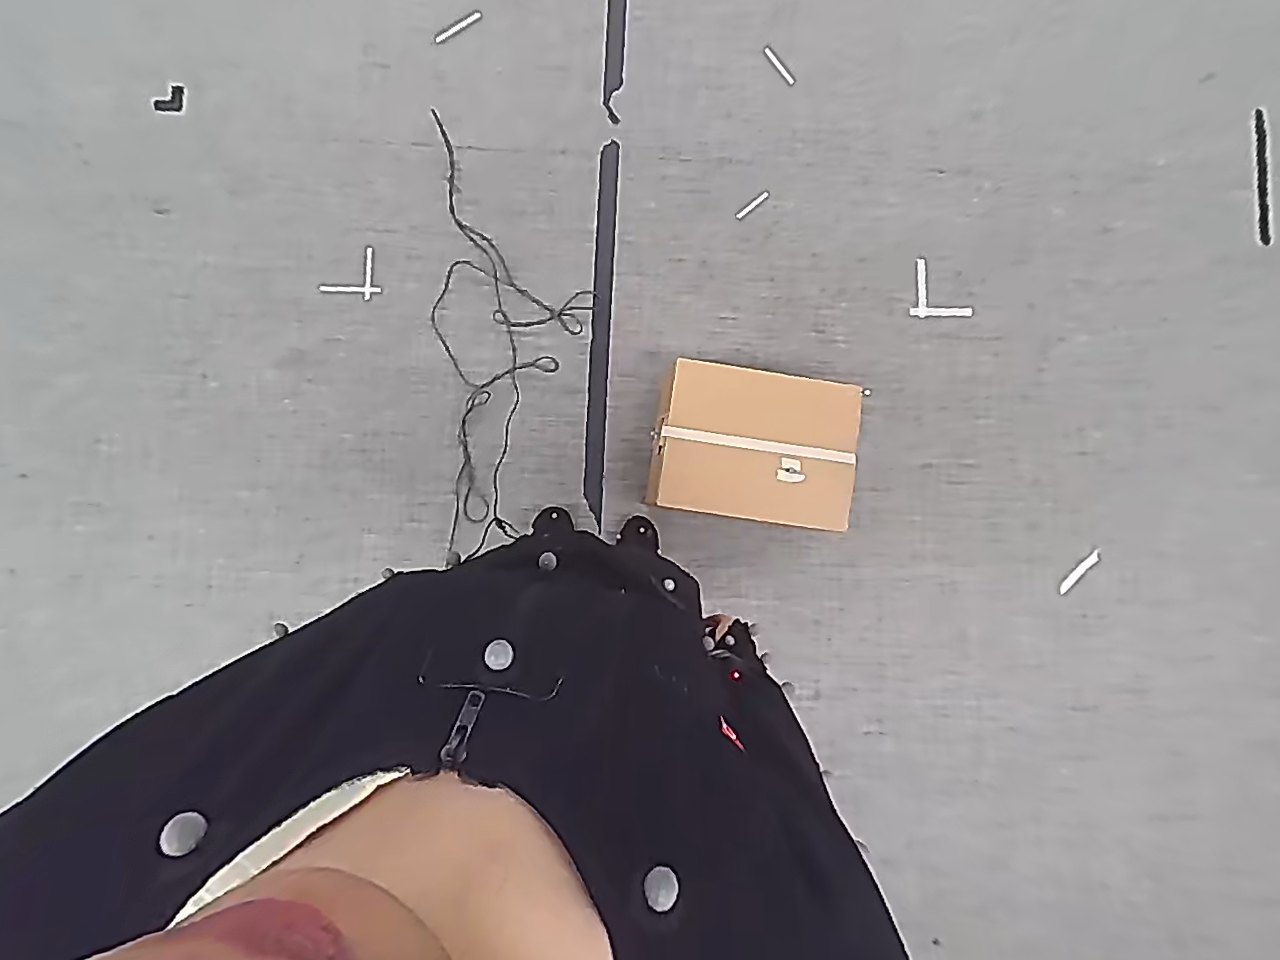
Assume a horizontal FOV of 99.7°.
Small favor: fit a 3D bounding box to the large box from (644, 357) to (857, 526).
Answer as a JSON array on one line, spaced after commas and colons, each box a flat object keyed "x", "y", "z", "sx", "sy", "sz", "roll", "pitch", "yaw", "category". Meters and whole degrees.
[{"x": 0.234, "y": -0.072, "z": 1.273, "sx": 0.408, "sy": 0.320, "sz": 0.320, "roll": 8, "pitch": 87, "yaw": -4, "category": "large box"}]
